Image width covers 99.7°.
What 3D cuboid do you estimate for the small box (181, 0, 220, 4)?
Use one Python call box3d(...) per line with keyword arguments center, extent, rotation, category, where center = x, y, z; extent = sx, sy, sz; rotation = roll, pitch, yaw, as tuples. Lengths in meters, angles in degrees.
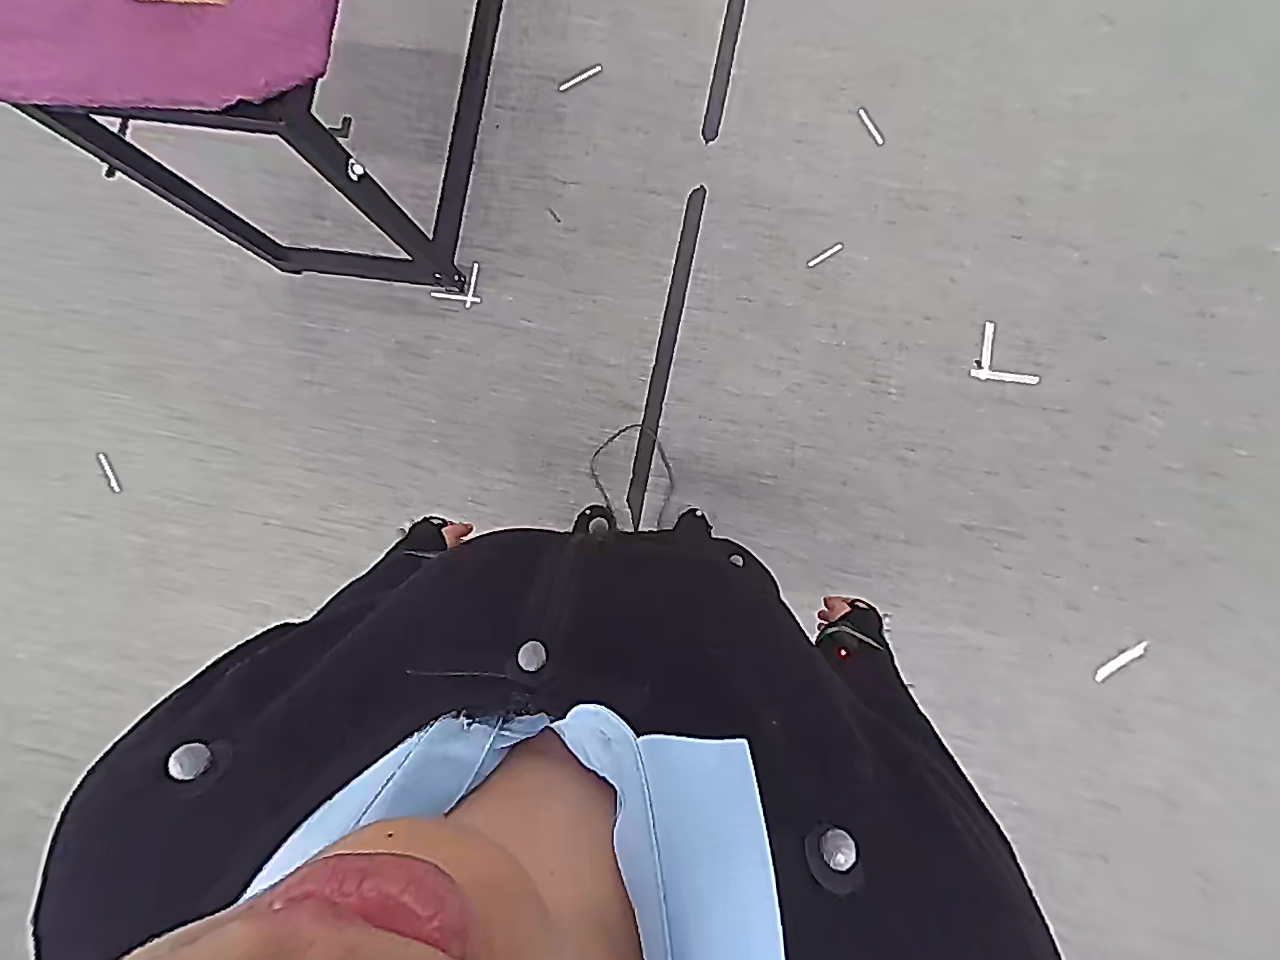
box3d(center=(-0.751, -0.873, 0.816), extent=(0.179, 0.176, 0.168), rotation=(7, 86, 5), category="small box")
